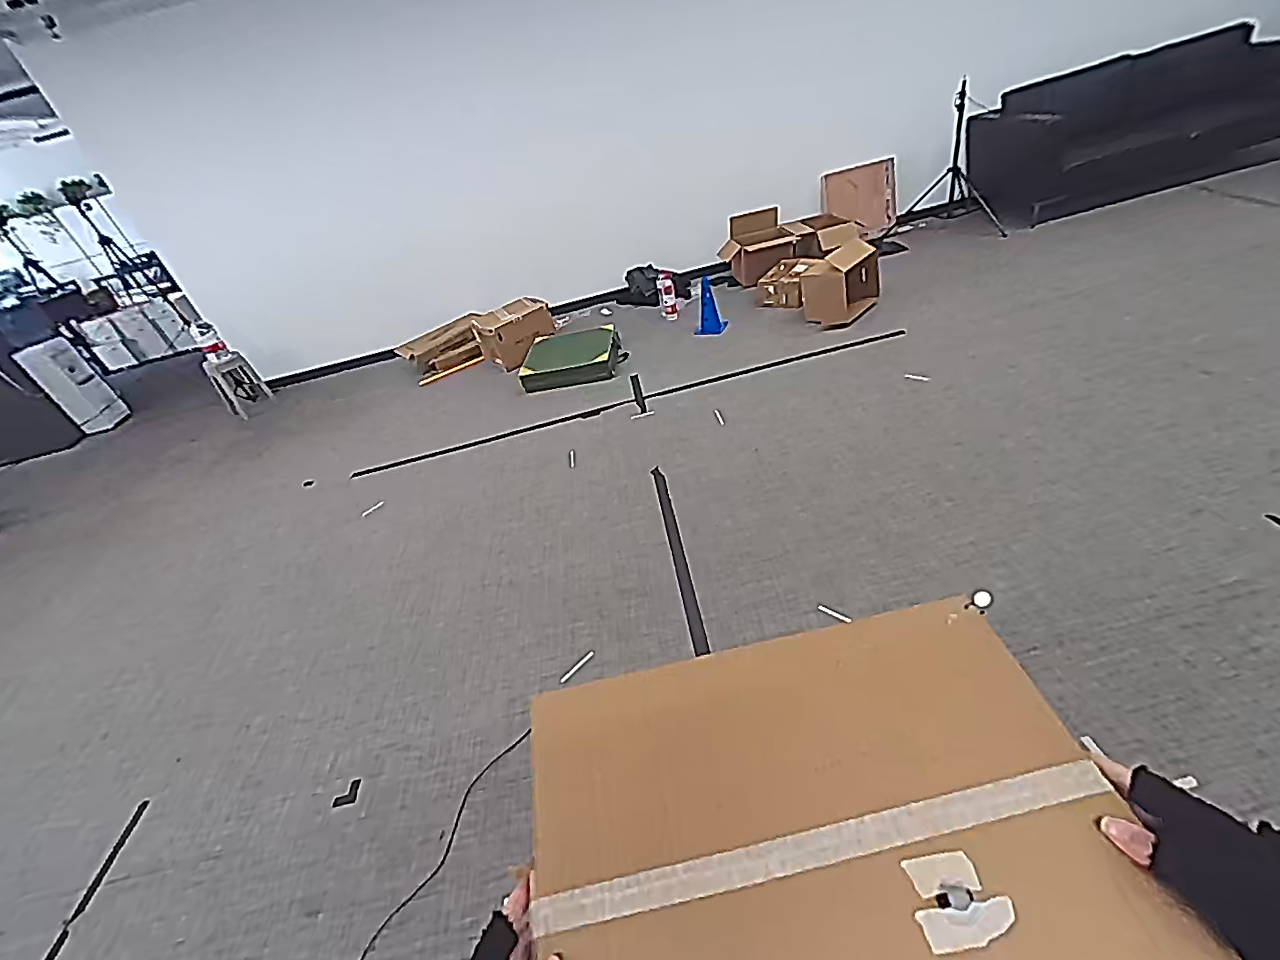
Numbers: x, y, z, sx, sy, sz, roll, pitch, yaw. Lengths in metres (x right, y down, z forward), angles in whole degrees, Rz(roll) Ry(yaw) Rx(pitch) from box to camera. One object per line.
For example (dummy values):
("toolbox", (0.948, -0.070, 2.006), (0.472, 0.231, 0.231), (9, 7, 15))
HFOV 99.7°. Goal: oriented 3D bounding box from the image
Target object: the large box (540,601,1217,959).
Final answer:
("large box", (0.148, 0.365, 0.490), (0.408, 0.320, 0.320), (-13, 44, -2))
